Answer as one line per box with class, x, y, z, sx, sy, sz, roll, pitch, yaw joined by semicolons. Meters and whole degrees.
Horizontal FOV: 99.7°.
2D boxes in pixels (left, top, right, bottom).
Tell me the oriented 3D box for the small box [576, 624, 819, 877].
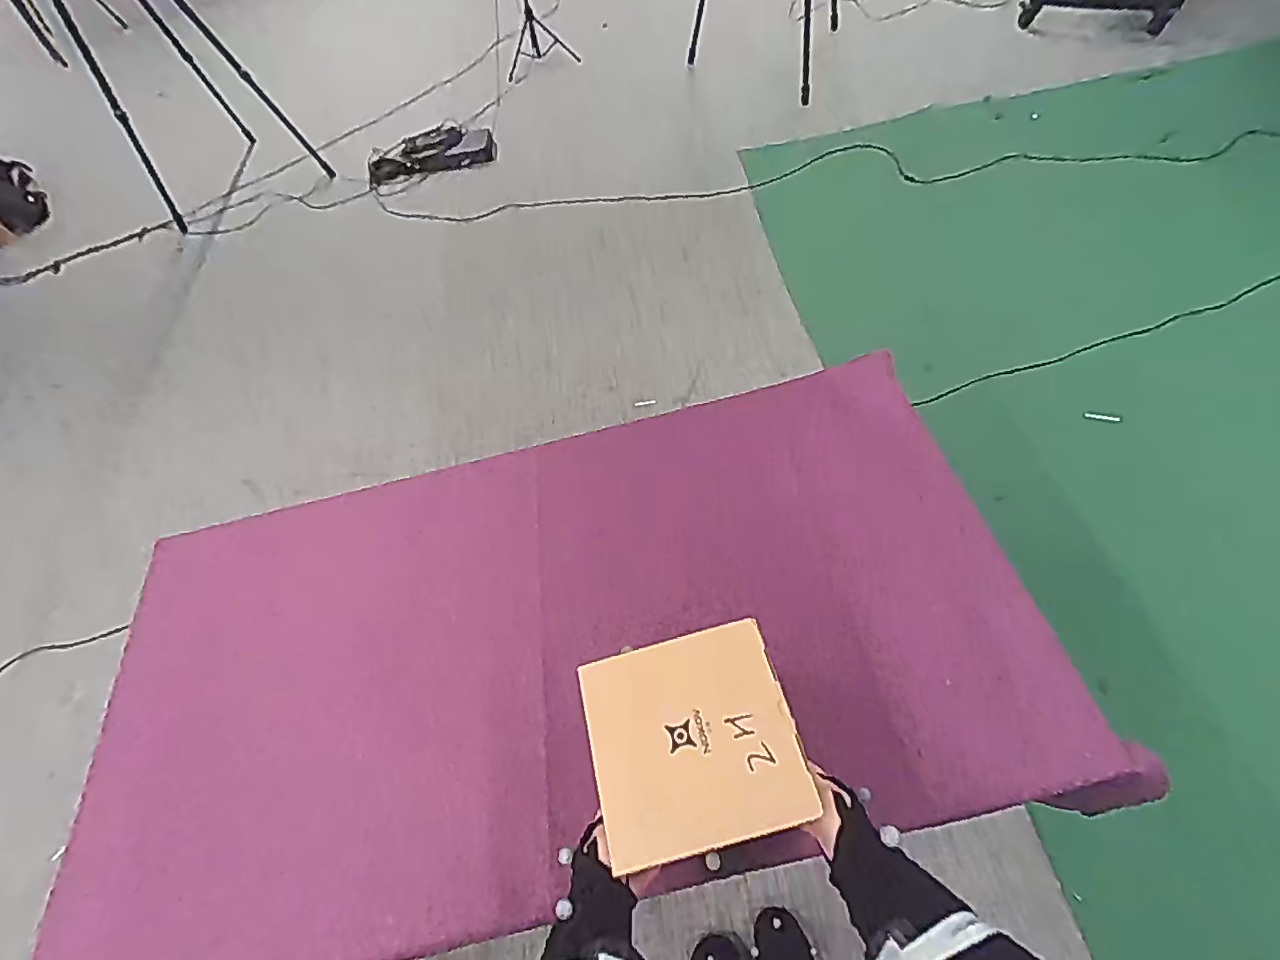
small box;0.052;0.262;0.527;0.179;0.176;0.168;-16;59;0
